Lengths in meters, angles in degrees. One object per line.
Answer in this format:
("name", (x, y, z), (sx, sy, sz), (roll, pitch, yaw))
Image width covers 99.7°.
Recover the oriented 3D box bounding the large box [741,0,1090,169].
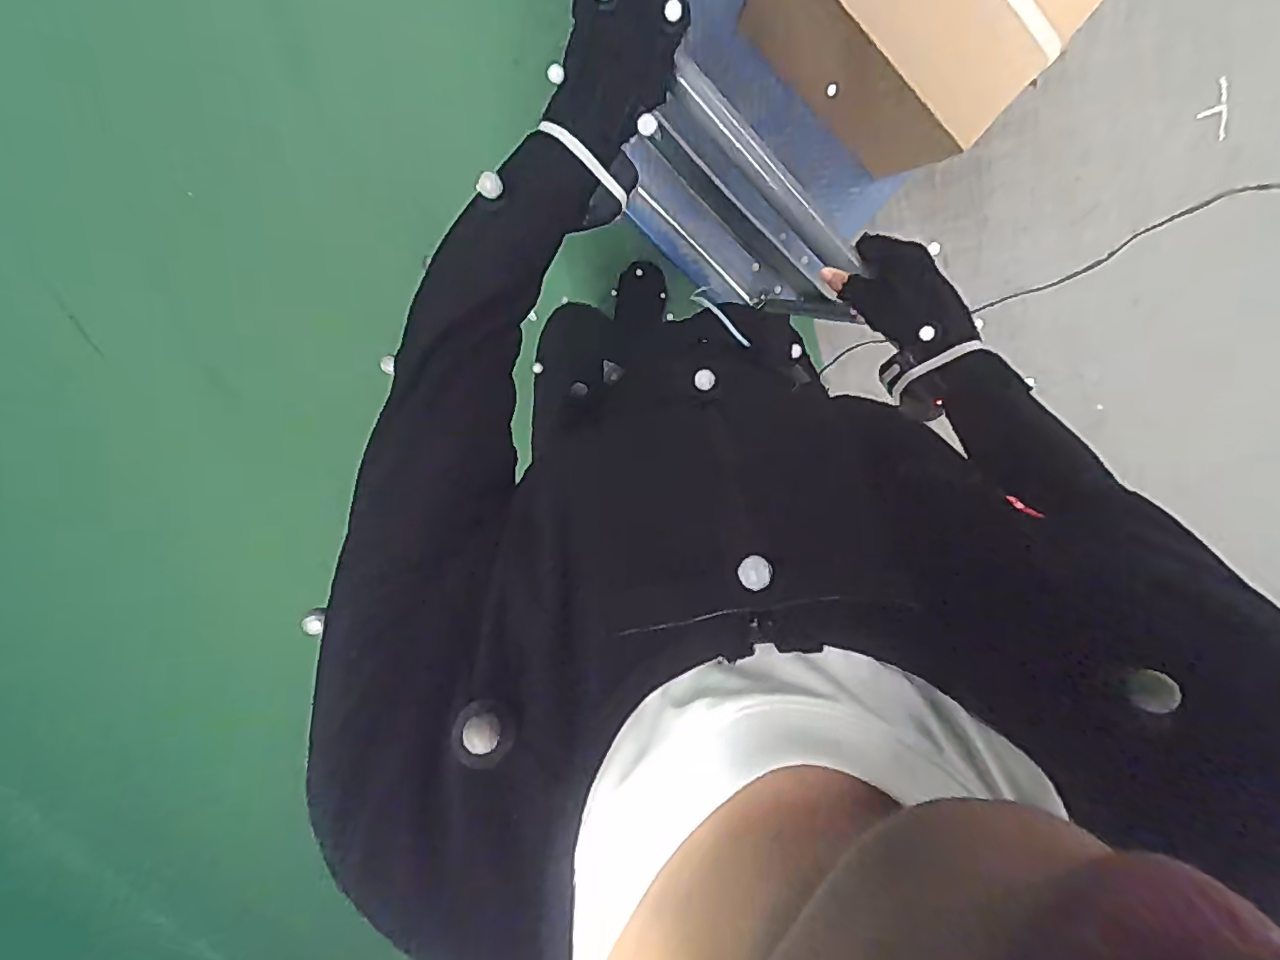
("large box", (0.432, -0.788, 0.867), (0.408, 0.320, 0.320), (37, 106, -14))
